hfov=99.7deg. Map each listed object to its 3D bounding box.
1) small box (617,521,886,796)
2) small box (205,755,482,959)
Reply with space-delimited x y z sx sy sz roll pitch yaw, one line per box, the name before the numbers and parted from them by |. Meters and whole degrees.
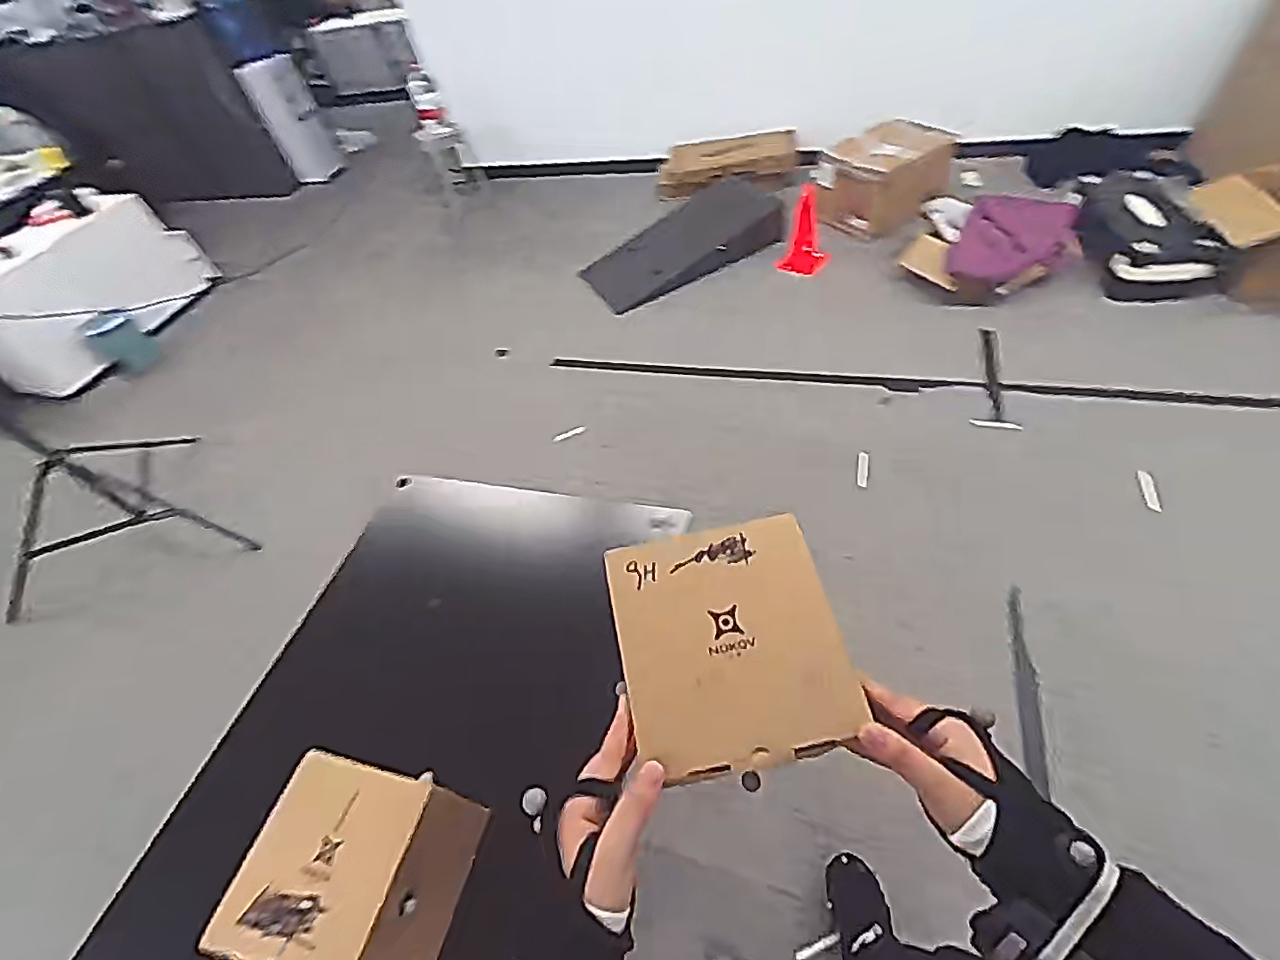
small box | 0.081 0.160 0.474 0.168 0.176 0.179 -11 61 -1
small box | -0.300 0.433 0.596 0.168 0.176 0.179 6 52 16
